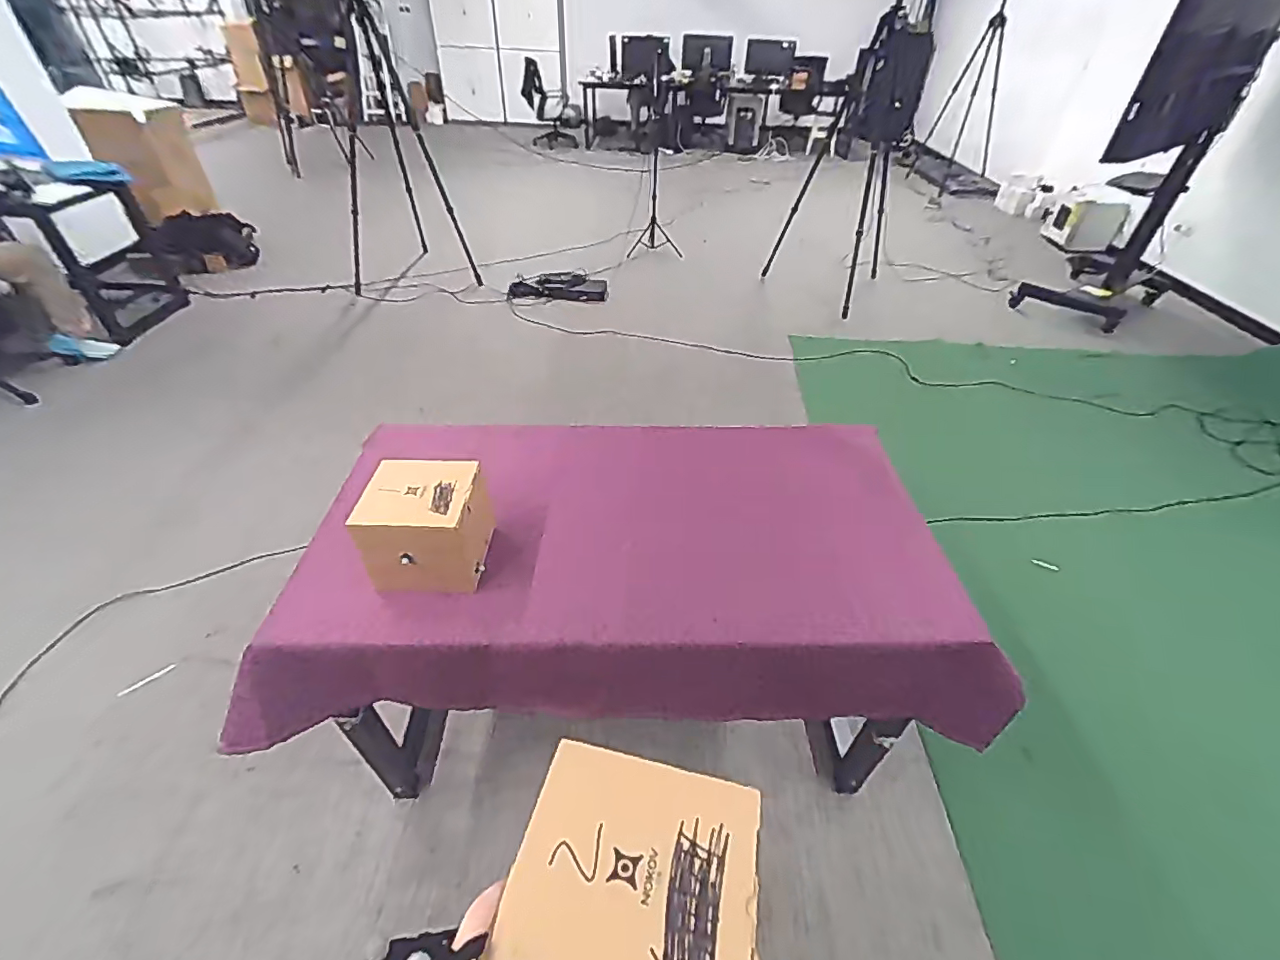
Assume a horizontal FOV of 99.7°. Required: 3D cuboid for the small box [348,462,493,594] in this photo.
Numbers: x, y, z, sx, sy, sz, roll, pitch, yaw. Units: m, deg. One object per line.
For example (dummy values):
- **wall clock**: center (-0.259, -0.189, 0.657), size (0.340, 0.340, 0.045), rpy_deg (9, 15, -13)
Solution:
- **small box**: center (-0.368, 0.086, 0.951), size (0.179, 0.176, 0.168), rpy_deg (1, 41, 0)
